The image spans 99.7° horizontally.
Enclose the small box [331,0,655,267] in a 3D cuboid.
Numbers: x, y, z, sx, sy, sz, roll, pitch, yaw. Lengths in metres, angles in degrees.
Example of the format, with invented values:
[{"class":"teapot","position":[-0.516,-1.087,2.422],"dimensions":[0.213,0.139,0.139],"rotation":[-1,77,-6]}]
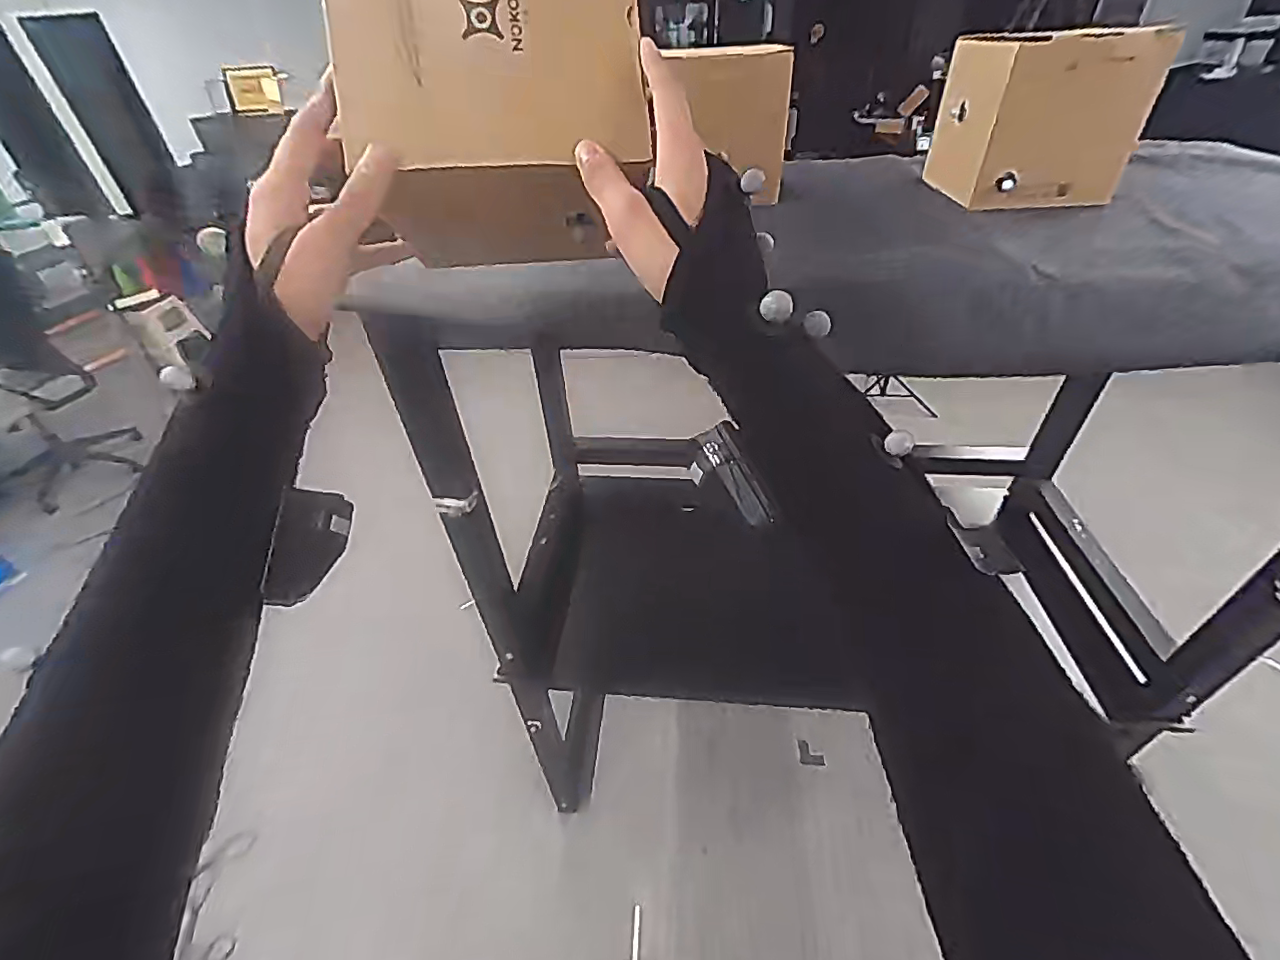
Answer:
[{"class":"small box","position":[-0.095,-0.265,0.387],"dimensions":[0.179,0.168,0.176],"rotation":[-6,3,-8]}]

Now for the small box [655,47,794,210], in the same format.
[{"class":"small box","position":[0.105,-0.485,0.747],"dimensions":[0.168,0.176,0.179],"rotation":[-1,41,4]}]

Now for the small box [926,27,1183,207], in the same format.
[{"class":"small box","position":[0.490,-0.449,0.676],"dimensions":[0.168,0.176,0.179],"rotation":[0,39,4]}]
